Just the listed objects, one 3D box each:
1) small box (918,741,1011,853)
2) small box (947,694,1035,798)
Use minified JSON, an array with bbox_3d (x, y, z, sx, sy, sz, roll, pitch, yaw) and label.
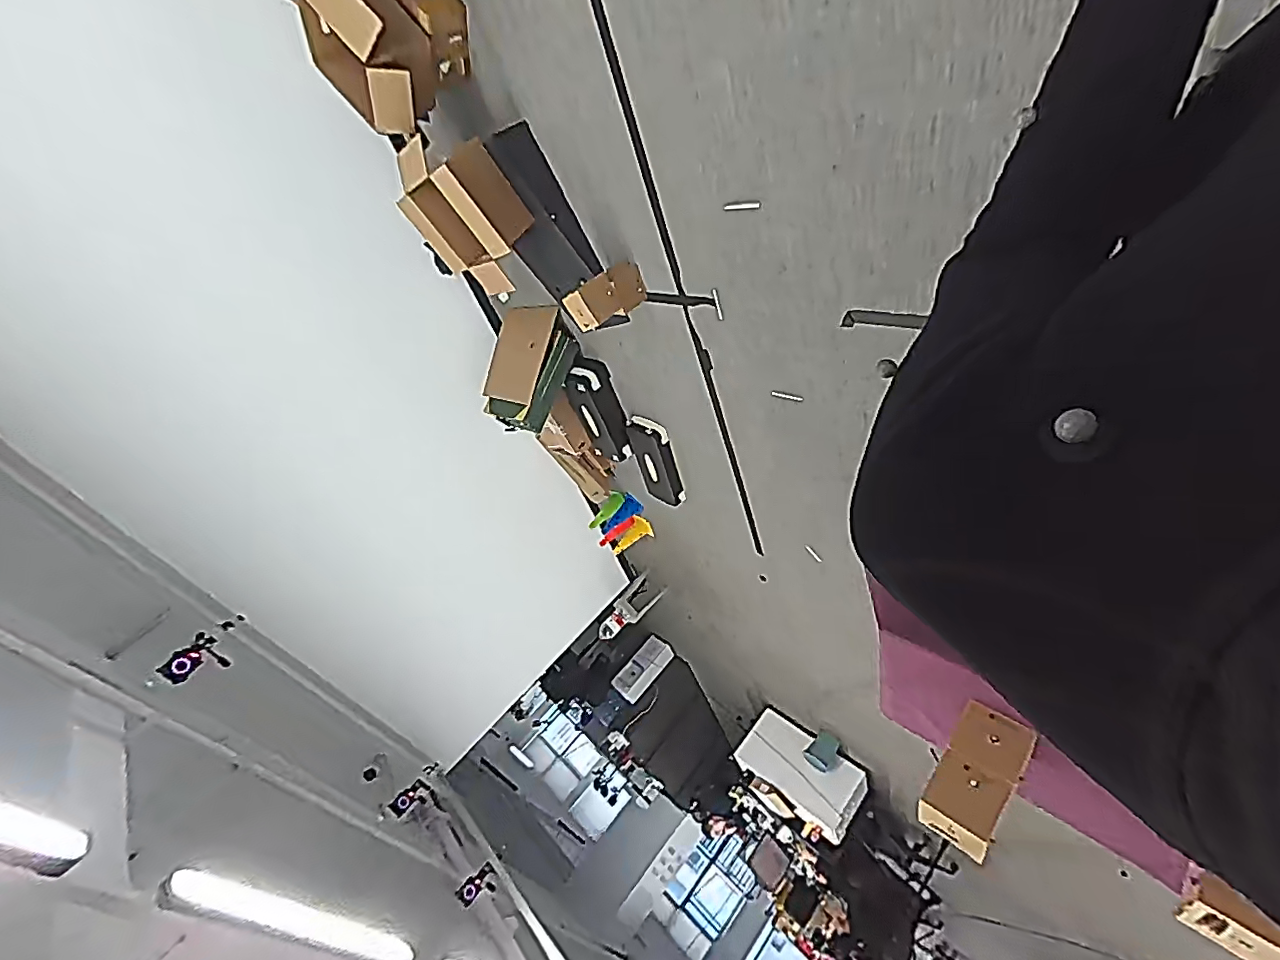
[{"bbox_3d":[0.877,0.854,1.465,0.168,0.176,0.179,23,147,42],"label":"small box"},{"bbox_3d":[0.983,0.742,1.523,0.168,0.176,0.179,23,148,43],"label":"small box"}]
